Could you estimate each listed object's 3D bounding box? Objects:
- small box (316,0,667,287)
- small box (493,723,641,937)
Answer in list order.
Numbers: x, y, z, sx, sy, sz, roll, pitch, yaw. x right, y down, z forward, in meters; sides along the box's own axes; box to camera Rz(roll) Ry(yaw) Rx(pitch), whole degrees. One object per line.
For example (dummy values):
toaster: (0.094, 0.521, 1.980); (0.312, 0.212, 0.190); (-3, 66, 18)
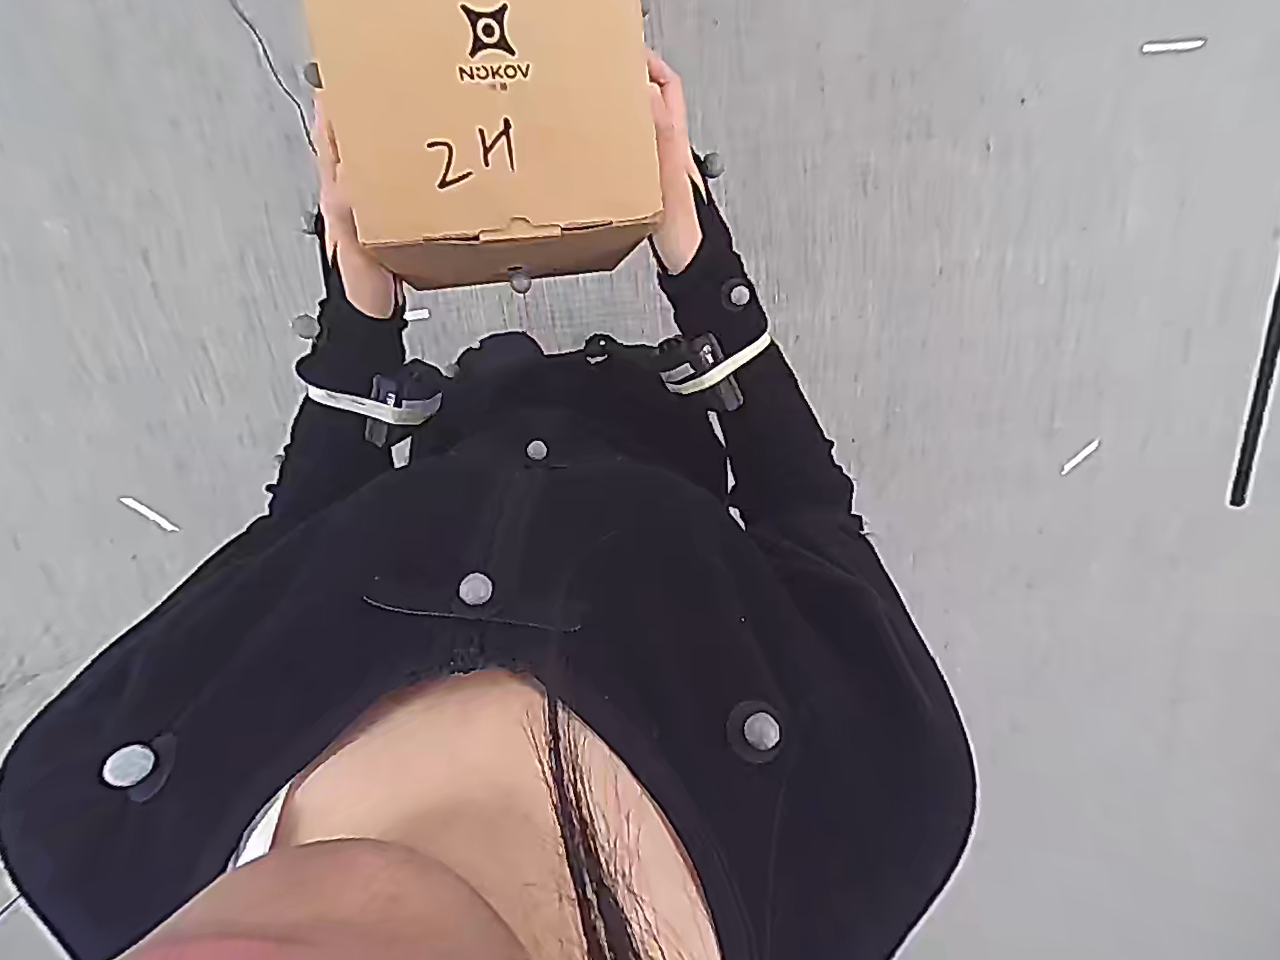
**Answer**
small box: (-0.091, -0.236, 0.352); (0.168, 0.176, 0.179); (-10, 103, -10)
small box: (-0.090, 0.445, 0.716); (0.168, 0.176, 0.179); (-4, 105, -2)
